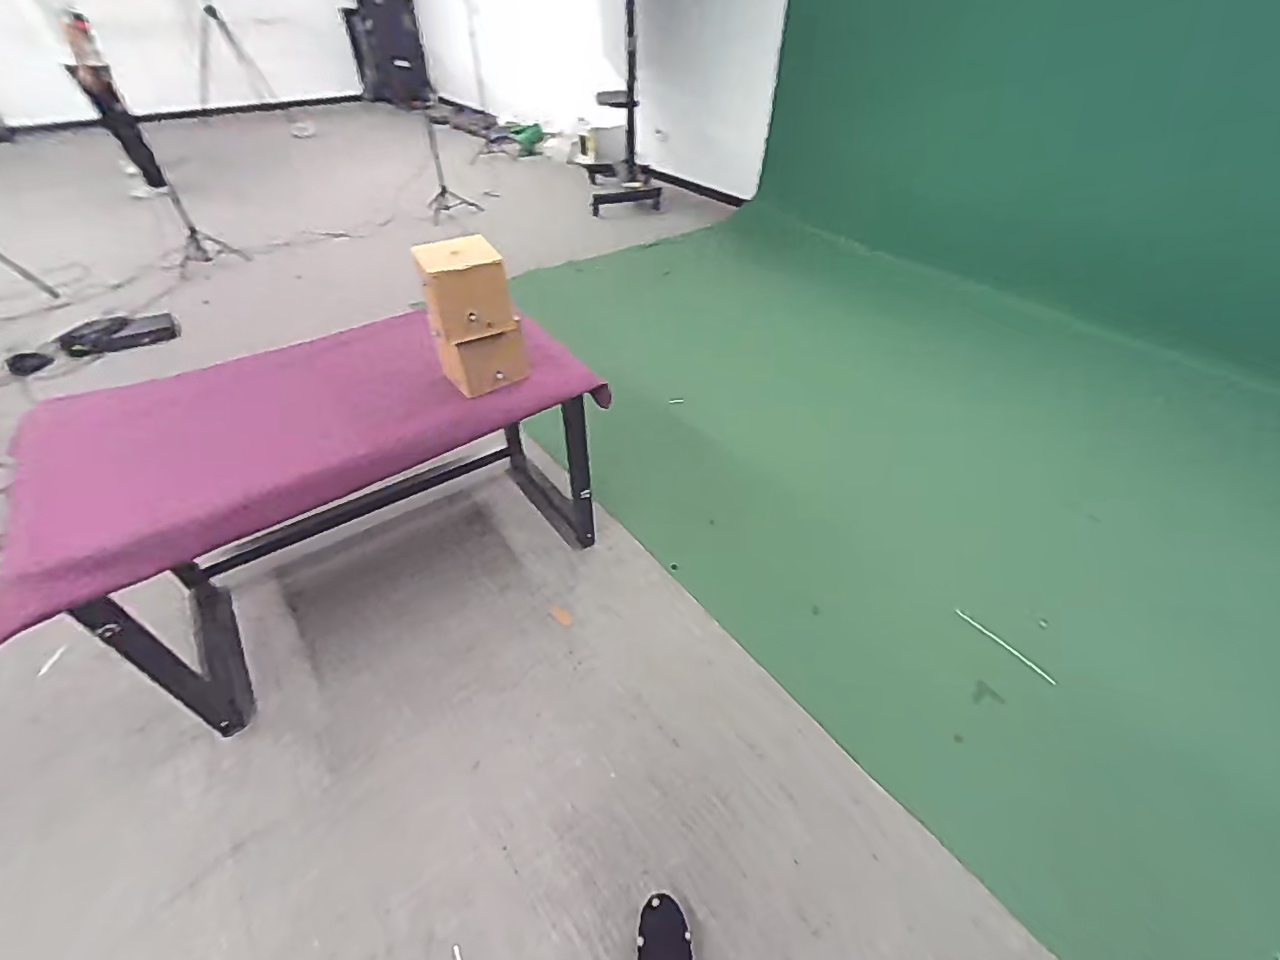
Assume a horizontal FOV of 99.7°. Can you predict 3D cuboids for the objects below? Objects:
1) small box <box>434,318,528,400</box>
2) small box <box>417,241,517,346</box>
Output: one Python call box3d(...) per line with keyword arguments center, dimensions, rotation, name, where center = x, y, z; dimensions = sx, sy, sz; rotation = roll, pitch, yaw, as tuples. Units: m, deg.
box3d(center=(-0.401, -0.333, 1.392), dimensions=(0.179, 0.176, 0.168), rotation=(-27, 48, -26), name="small box")
box3d(center=(-0.402, -0.437, 1.264), dimensions=(0.168, 0.176, 0.179), rotation=(-21, 47, -20), name="small box")
